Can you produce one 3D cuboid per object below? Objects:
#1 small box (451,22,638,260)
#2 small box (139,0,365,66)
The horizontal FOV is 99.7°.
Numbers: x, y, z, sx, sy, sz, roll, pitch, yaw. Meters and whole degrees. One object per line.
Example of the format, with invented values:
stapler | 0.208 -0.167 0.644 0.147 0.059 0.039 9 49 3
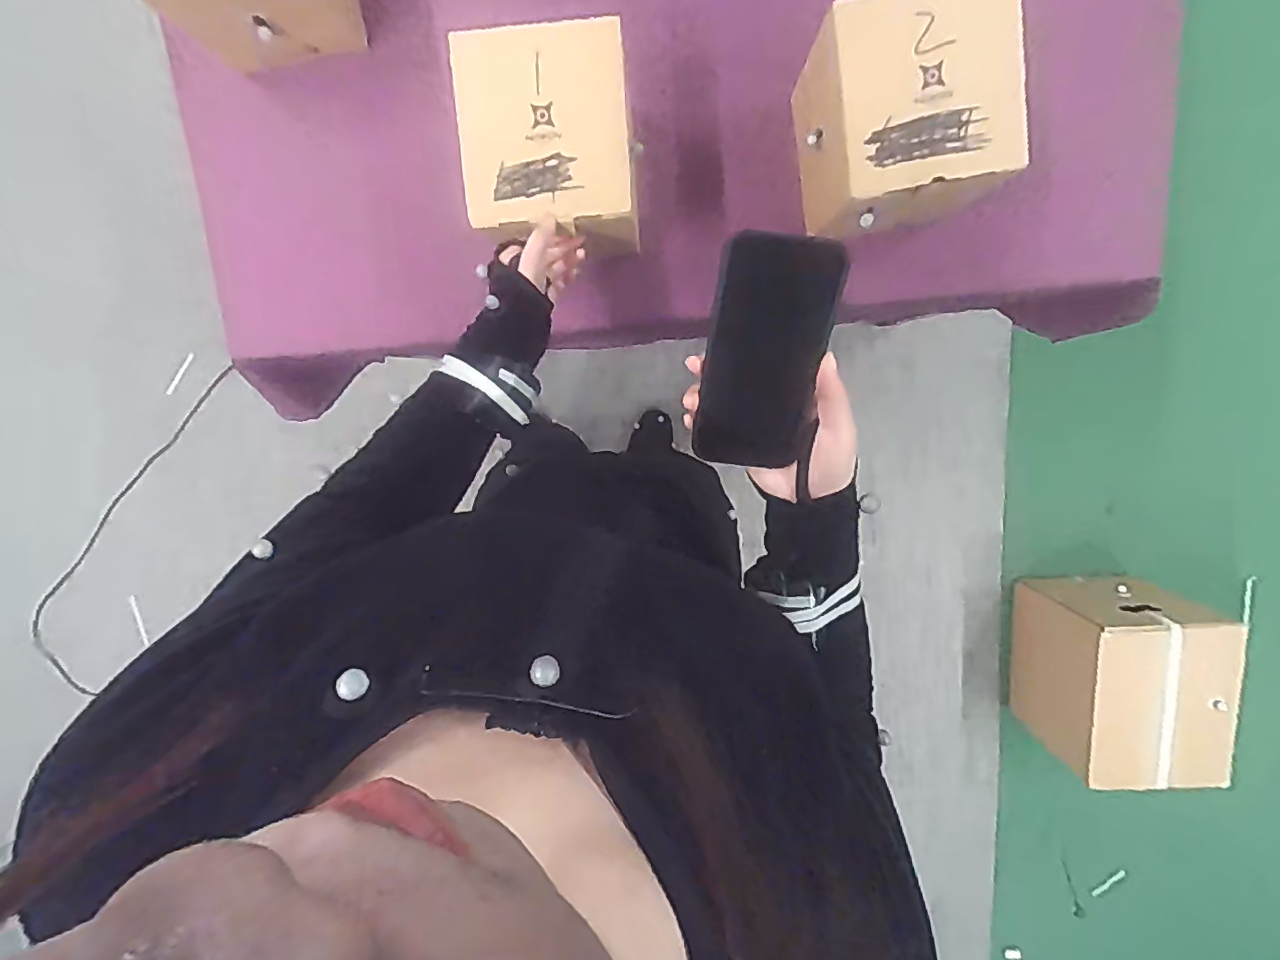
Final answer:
small box | -0.091 -0.352 0.600 0.168 0.176 0.179 -3 99 3
small box | -0.424 -0.579 0.573 0.168 0.176 0.179 -8 101 3
